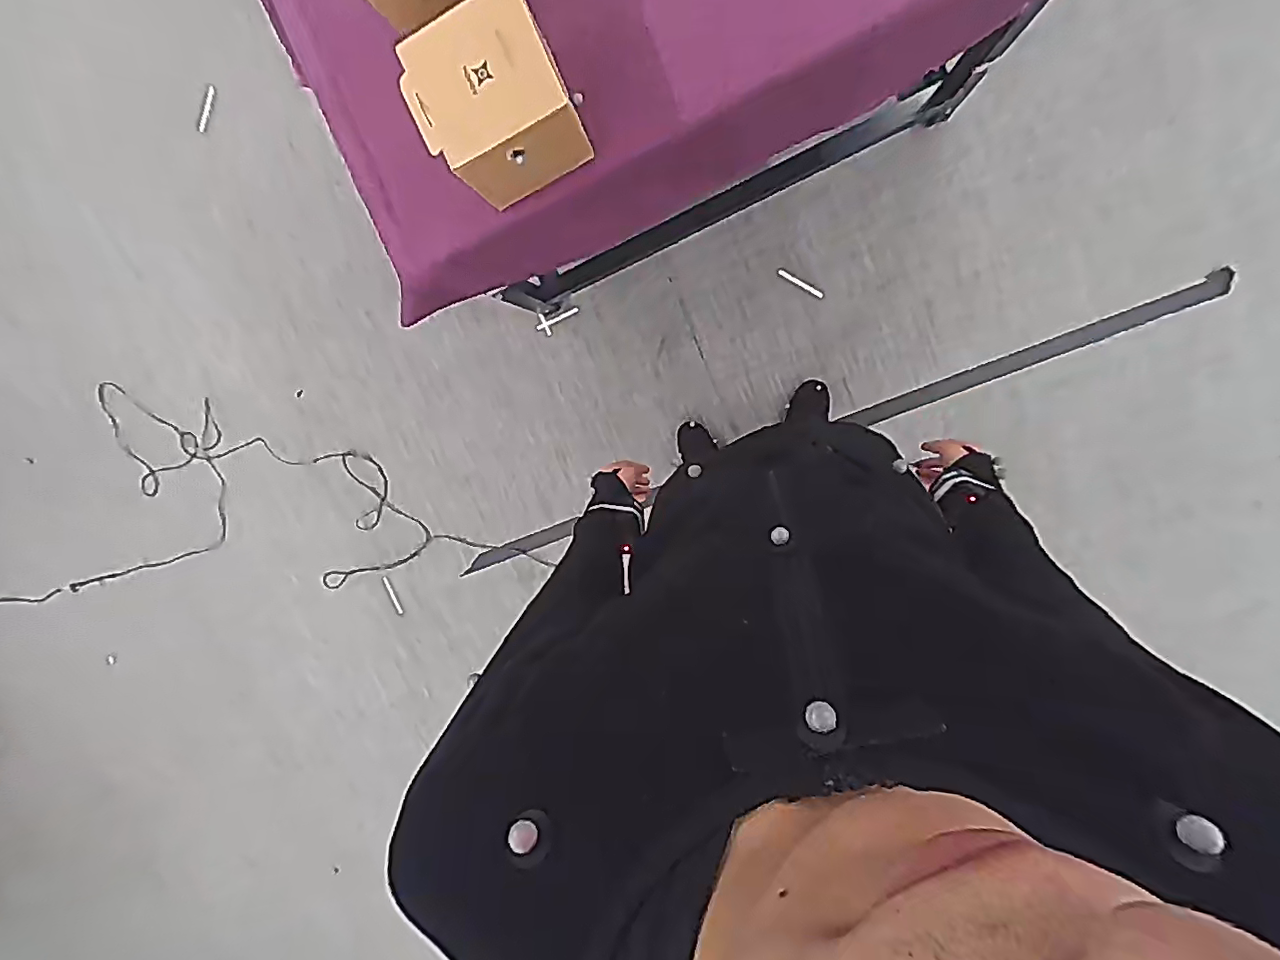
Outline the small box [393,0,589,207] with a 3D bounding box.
[{"bbox_3d":[-0.193,-0.516,0.752,0.179,0.176,0.168,-23,97,11],"label":"small box"}]
